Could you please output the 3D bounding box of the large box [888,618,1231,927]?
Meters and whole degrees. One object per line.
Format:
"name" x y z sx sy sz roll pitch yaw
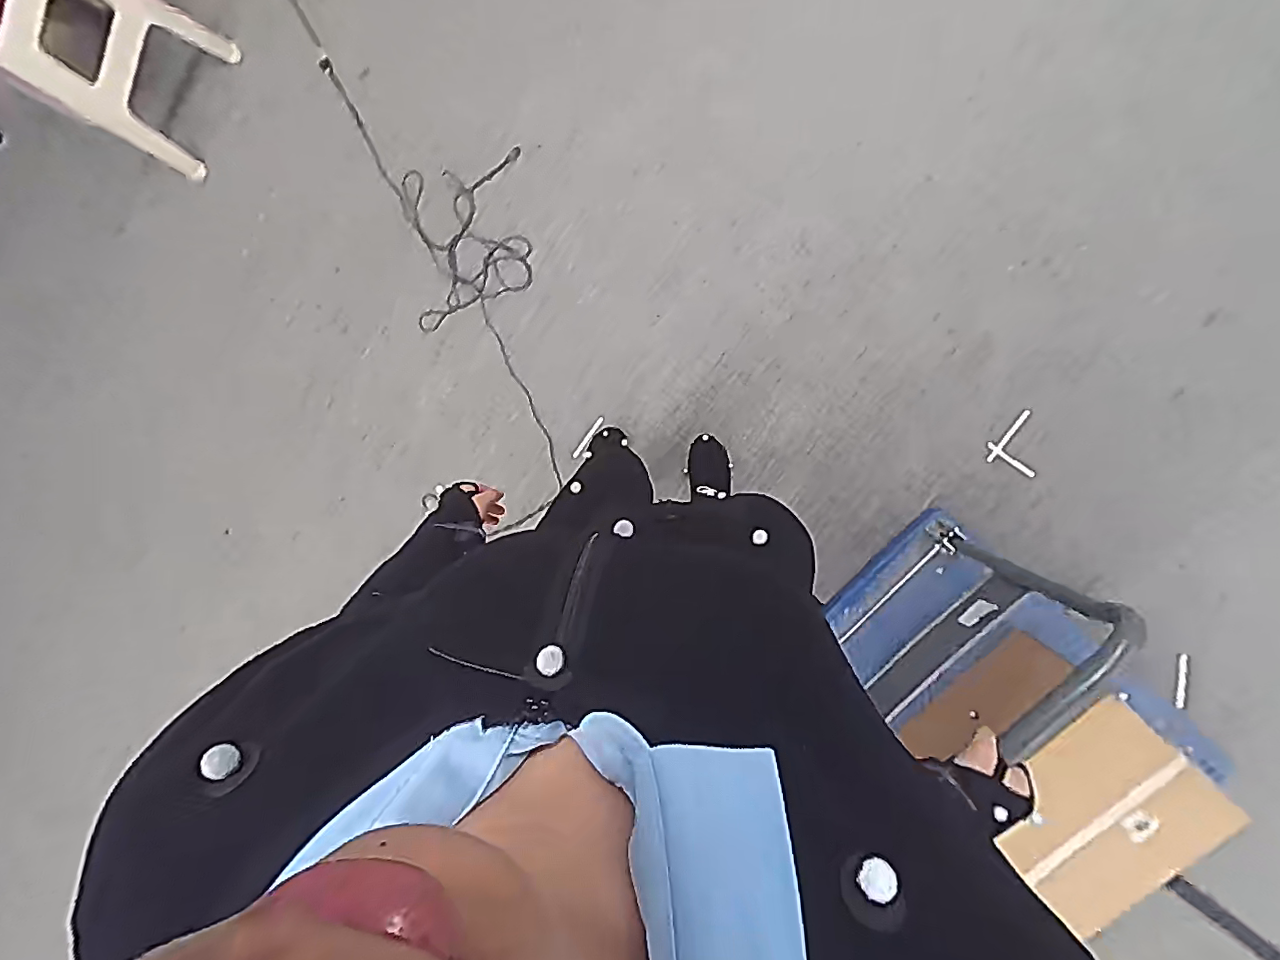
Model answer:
"large box" 0.812 0.571 1.124 0.320 0.320 0.408 42 98 1
